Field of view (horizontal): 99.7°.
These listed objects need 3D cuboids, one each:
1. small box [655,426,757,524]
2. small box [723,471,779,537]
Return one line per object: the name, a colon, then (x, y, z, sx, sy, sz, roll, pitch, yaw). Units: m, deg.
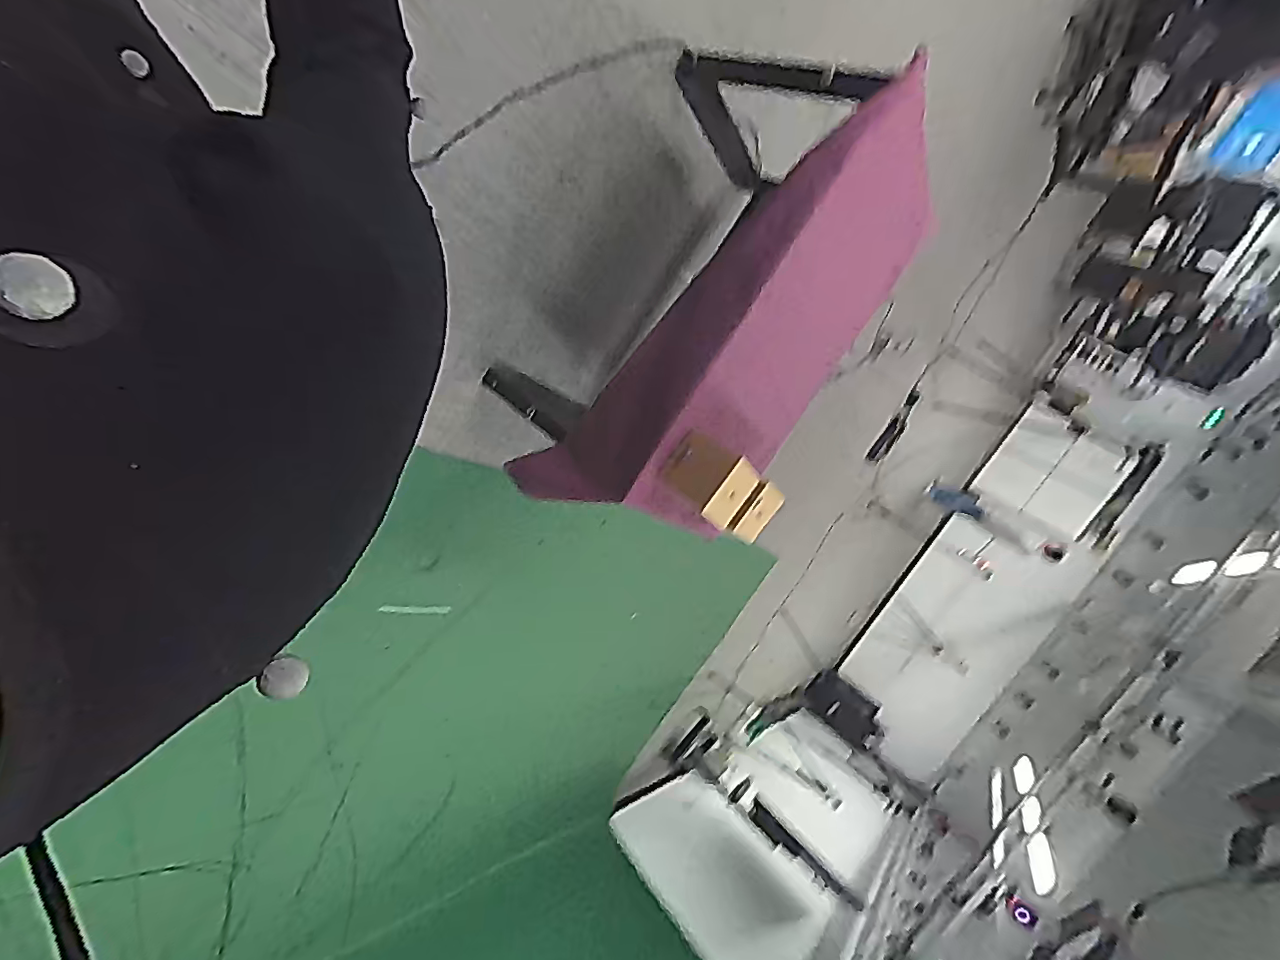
small box: (0.172, -0.015, 1.409, 0.168, 0.176, 0.179, -53, 148, 0)
small box: (0.280, 0.041, 1.597, 0.168, 0.176, 0.179, -54, 148, 2)
